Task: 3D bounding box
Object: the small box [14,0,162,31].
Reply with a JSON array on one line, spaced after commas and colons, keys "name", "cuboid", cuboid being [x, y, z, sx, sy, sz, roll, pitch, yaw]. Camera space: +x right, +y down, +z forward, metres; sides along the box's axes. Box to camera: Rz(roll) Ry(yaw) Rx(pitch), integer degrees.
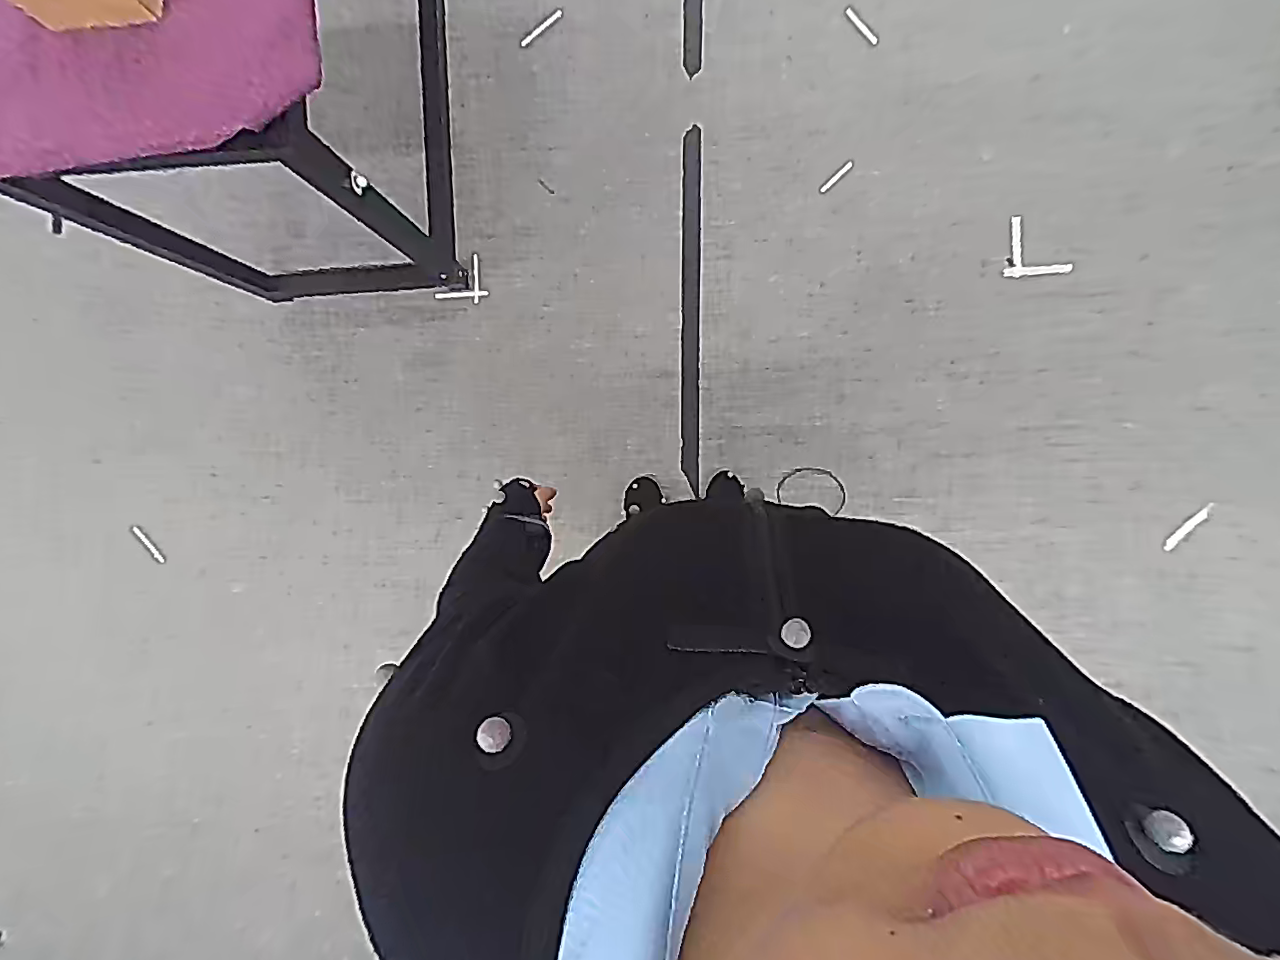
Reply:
[{"name": "small box", "cuboid": [-0.797, -0.747, 0.720, 0.179, 0.176, 0.168, -3, 91, 3]}]
